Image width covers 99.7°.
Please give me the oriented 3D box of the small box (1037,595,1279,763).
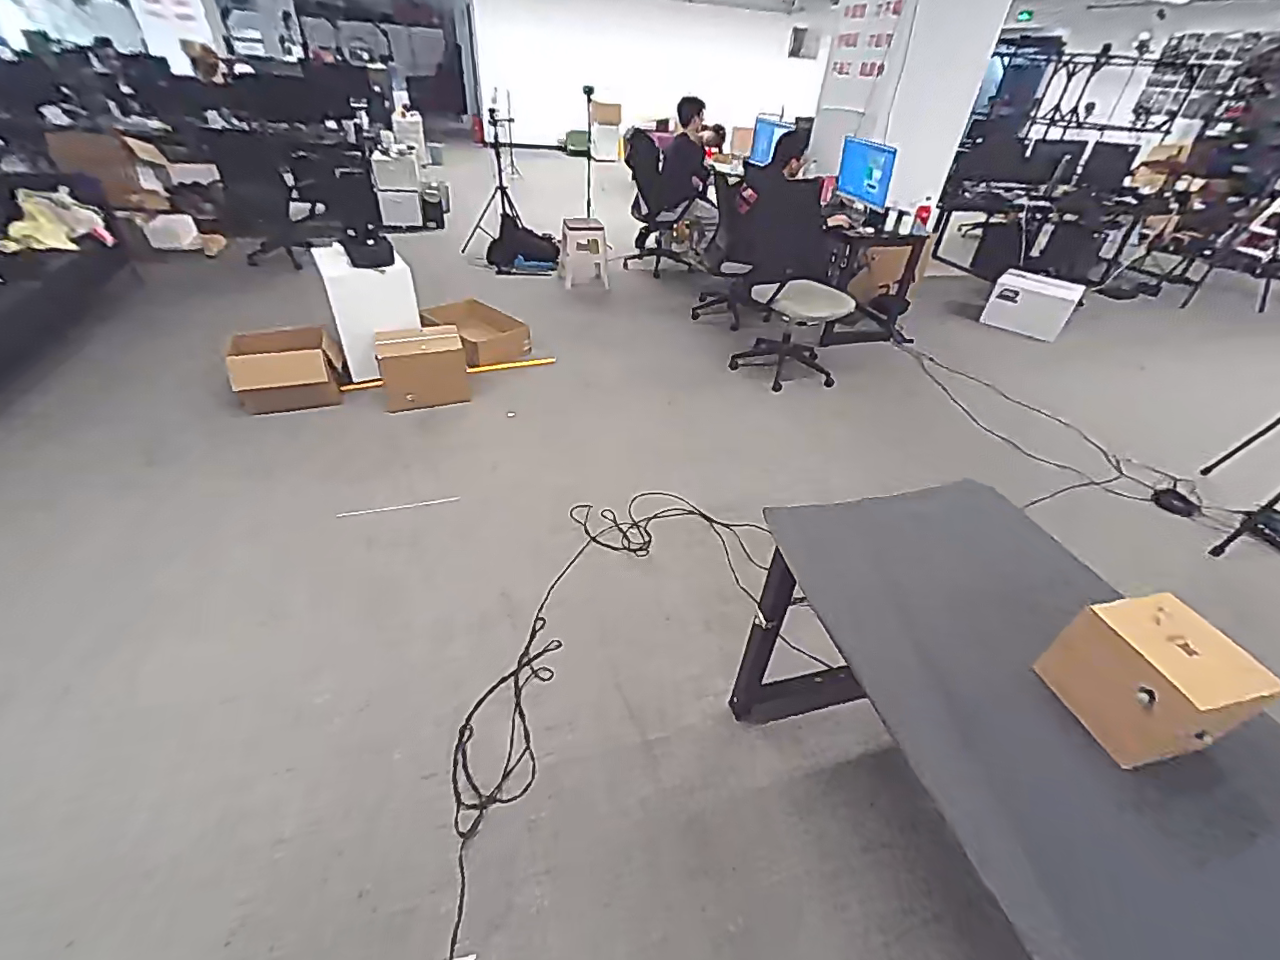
[{"bbox_3d":[0.768,0.304,0.820,0.168,0.176,0.179,-5,39,-13],"label":"small box"}]
